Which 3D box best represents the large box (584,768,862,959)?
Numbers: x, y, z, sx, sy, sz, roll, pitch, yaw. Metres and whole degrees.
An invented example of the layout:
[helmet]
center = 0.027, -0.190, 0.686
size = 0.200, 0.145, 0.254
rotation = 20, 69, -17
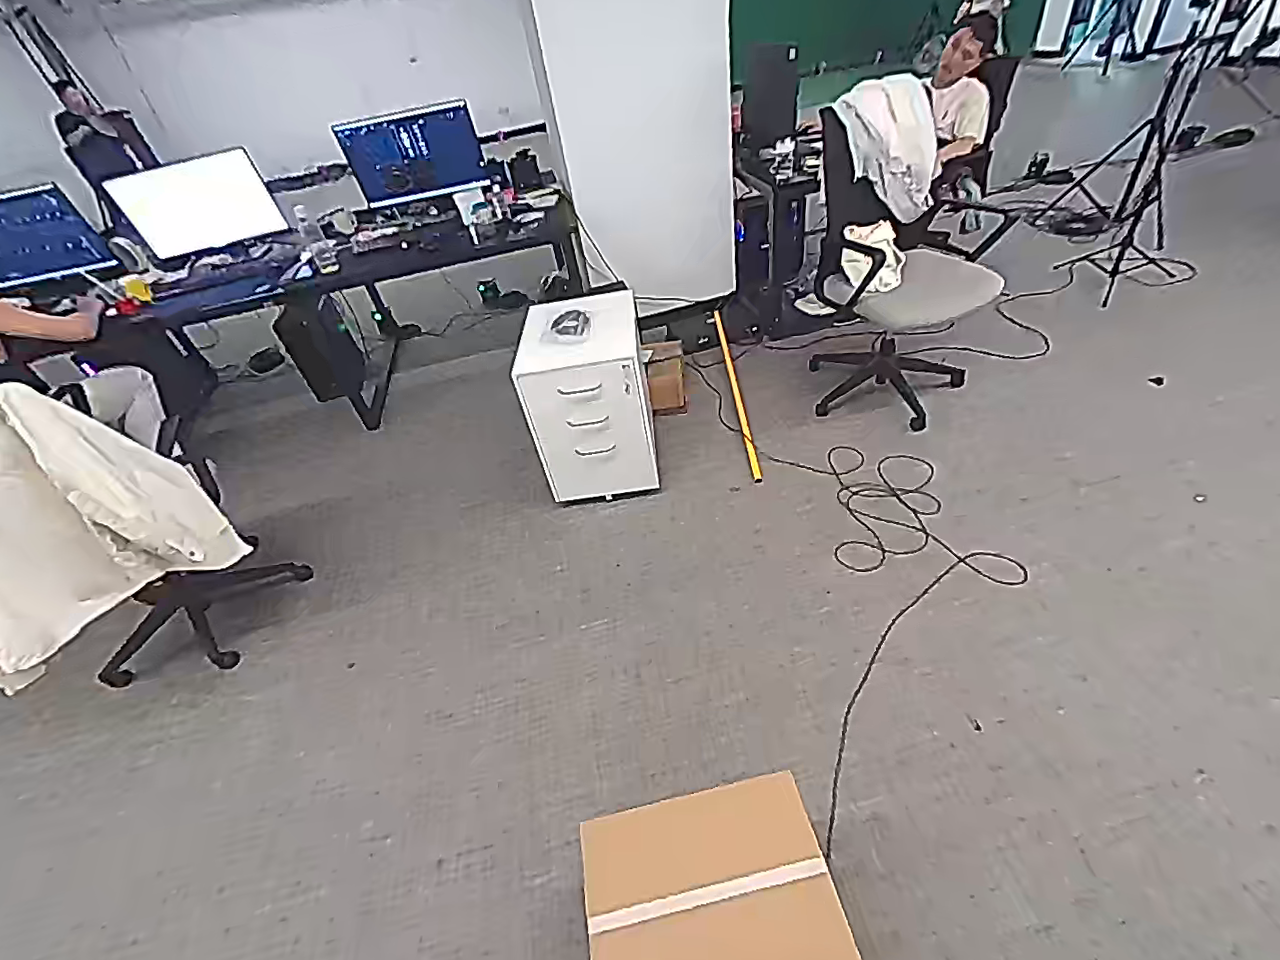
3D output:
[large box]
center = 0.136, 0.792, 0.986
size = 0.408, 0.320, 0.320
rotation = -13, 42, -2
